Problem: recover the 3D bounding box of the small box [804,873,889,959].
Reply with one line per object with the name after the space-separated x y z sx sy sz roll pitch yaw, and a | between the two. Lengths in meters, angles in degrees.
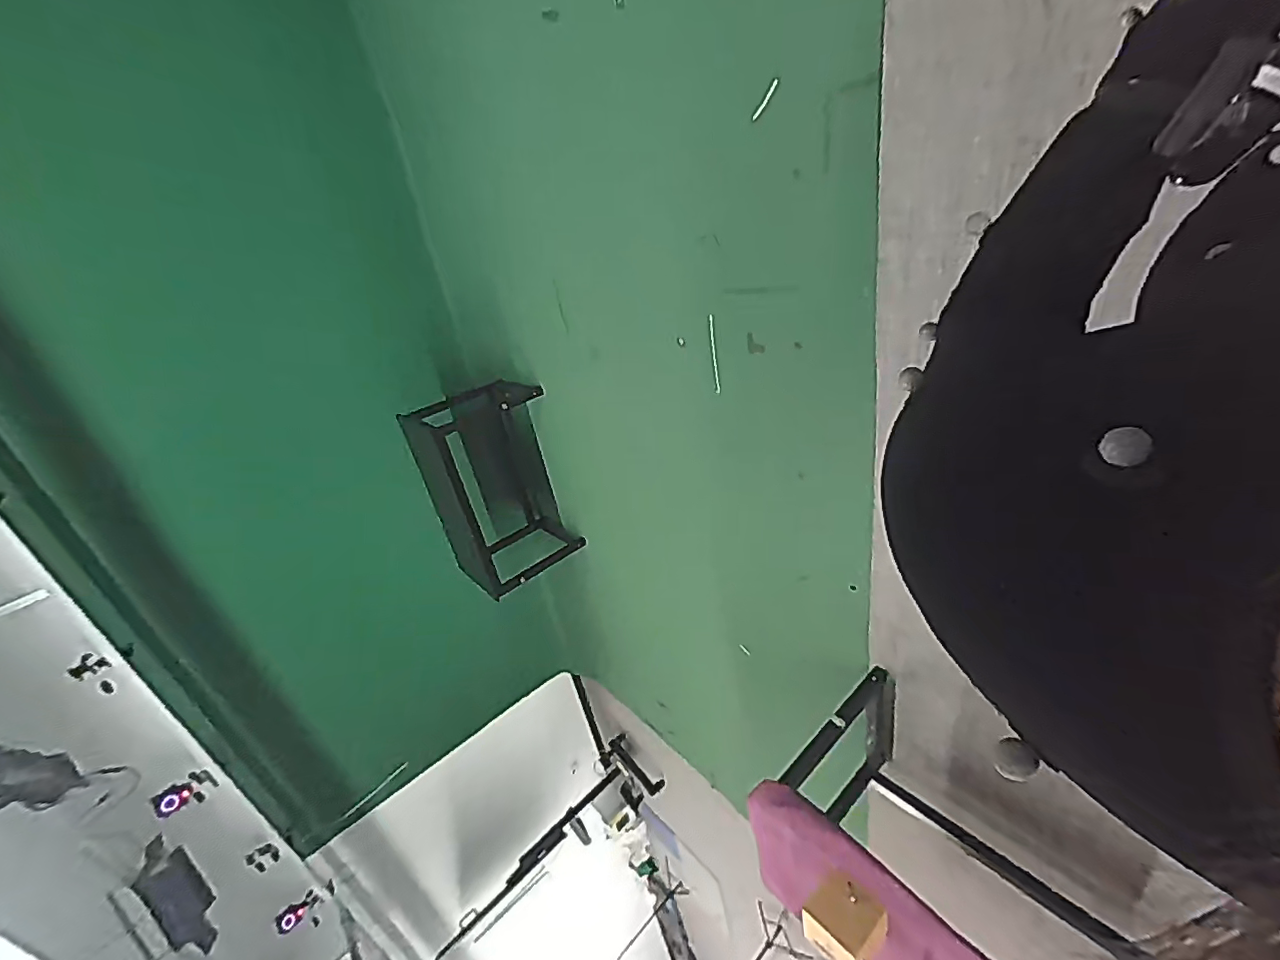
0.585 1.280 1.533 0.168 0.176 0.179 21 131 46 | small box
